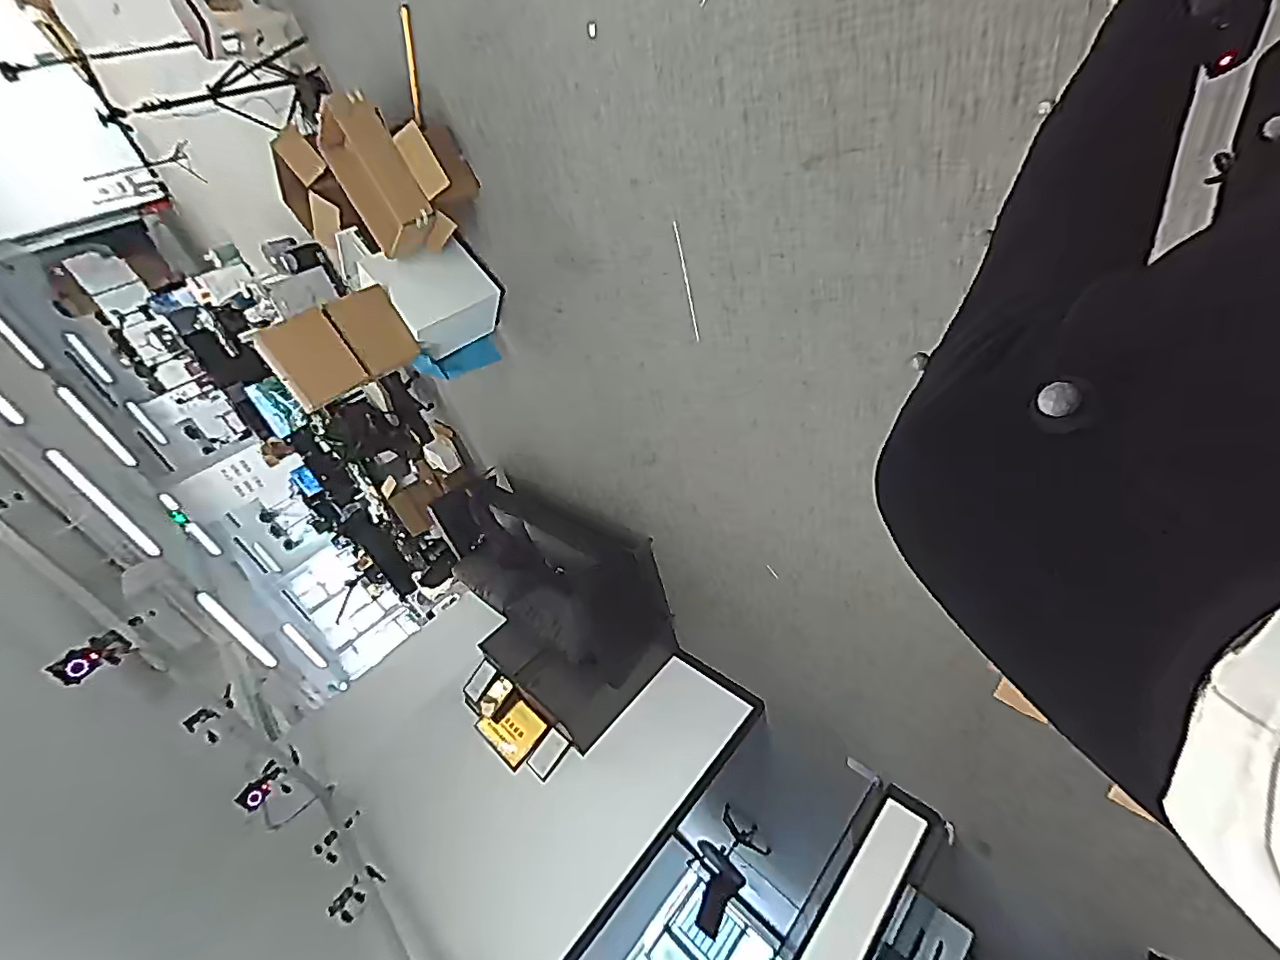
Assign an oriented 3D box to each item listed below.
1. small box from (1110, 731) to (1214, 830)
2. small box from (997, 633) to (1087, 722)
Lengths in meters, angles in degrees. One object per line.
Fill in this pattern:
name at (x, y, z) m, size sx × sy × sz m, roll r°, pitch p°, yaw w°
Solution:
small box at (1.576, 0.895, 1.634) m, size 0.179 × 0.176 × 0.168 m, roll 23°, pitch 140°, yaw 39°
small box at (1.288, 0.627, 1.731) m, size 0.179 × 0.176 × 0.168 m, roll 26°, pitch 142°, yaw 36°
